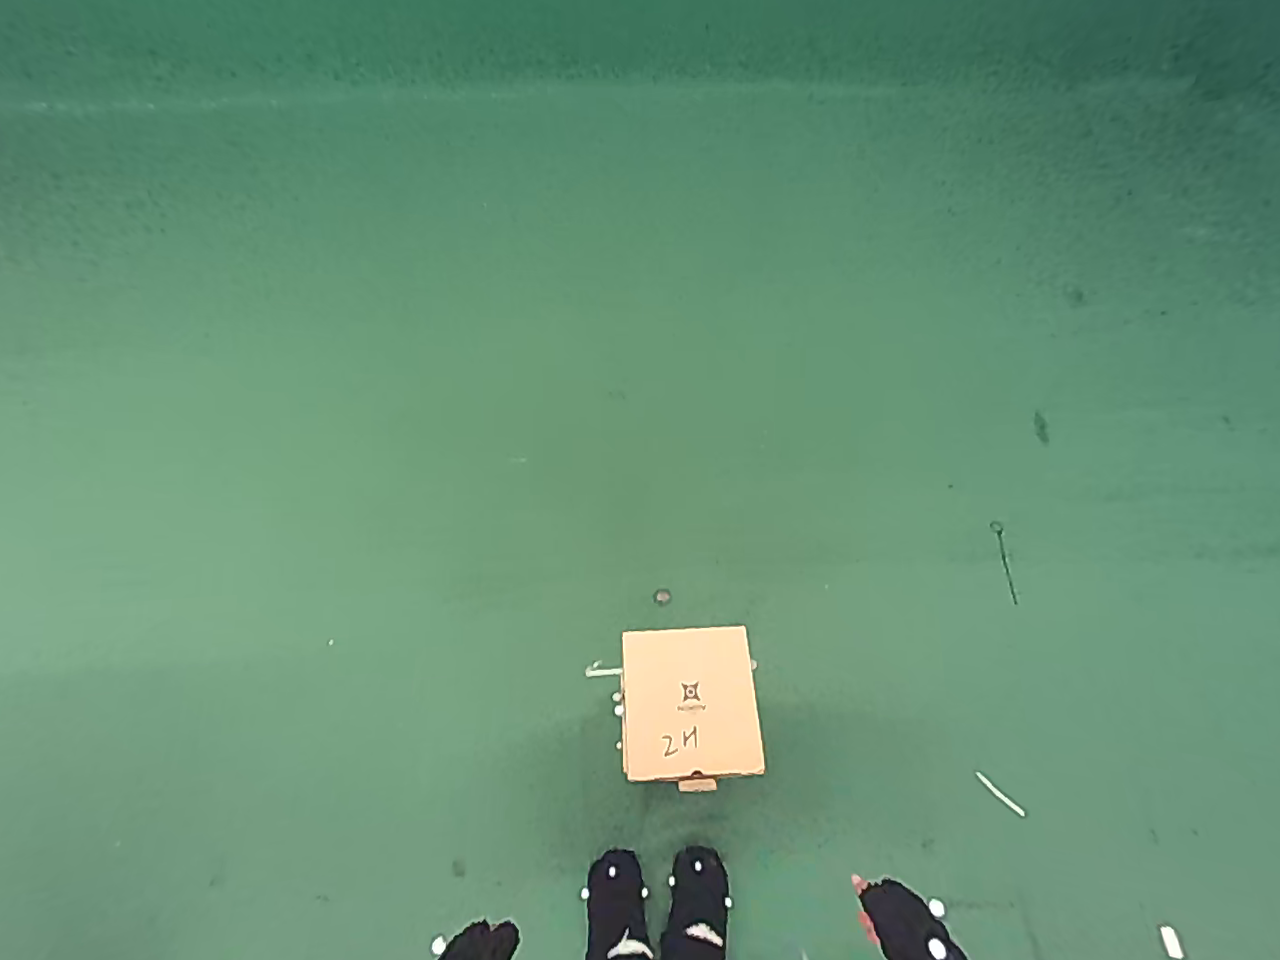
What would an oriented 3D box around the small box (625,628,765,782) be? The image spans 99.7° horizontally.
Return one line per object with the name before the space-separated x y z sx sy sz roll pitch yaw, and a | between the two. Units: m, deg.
small box | 0.063 0.312 0.745 0.168 0.176 0.179 -3 63 -2
